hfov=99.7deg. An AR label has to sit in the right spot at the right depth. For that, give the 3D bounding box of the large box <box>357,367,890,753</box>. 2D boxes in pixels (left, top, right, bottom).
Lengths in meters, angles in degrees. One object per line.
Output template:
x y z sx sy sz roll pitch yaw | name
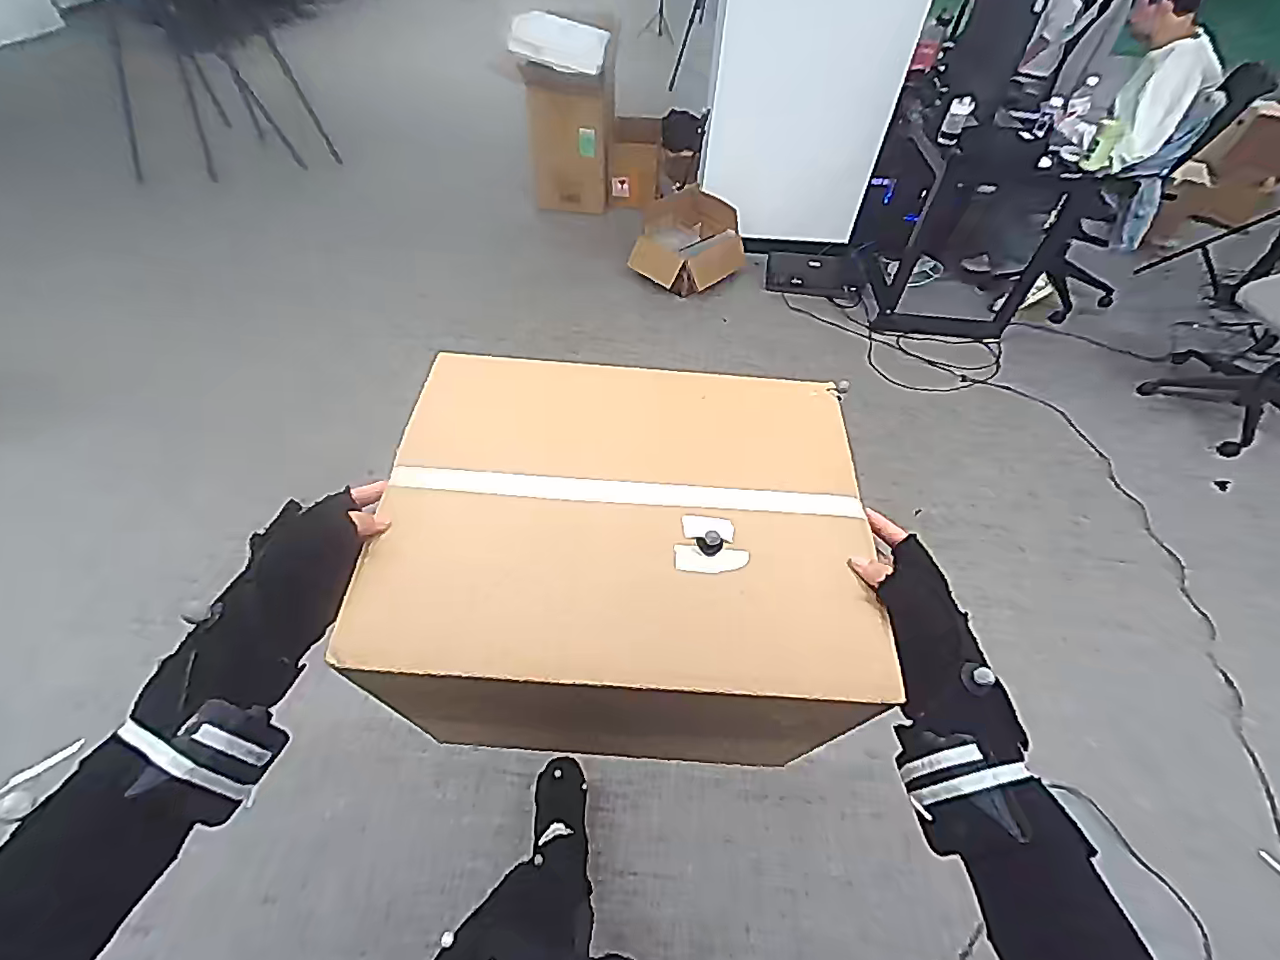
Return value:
-0.016 0.104 0.602 0.408 0.320 0.320 4 55 -2 | large box
